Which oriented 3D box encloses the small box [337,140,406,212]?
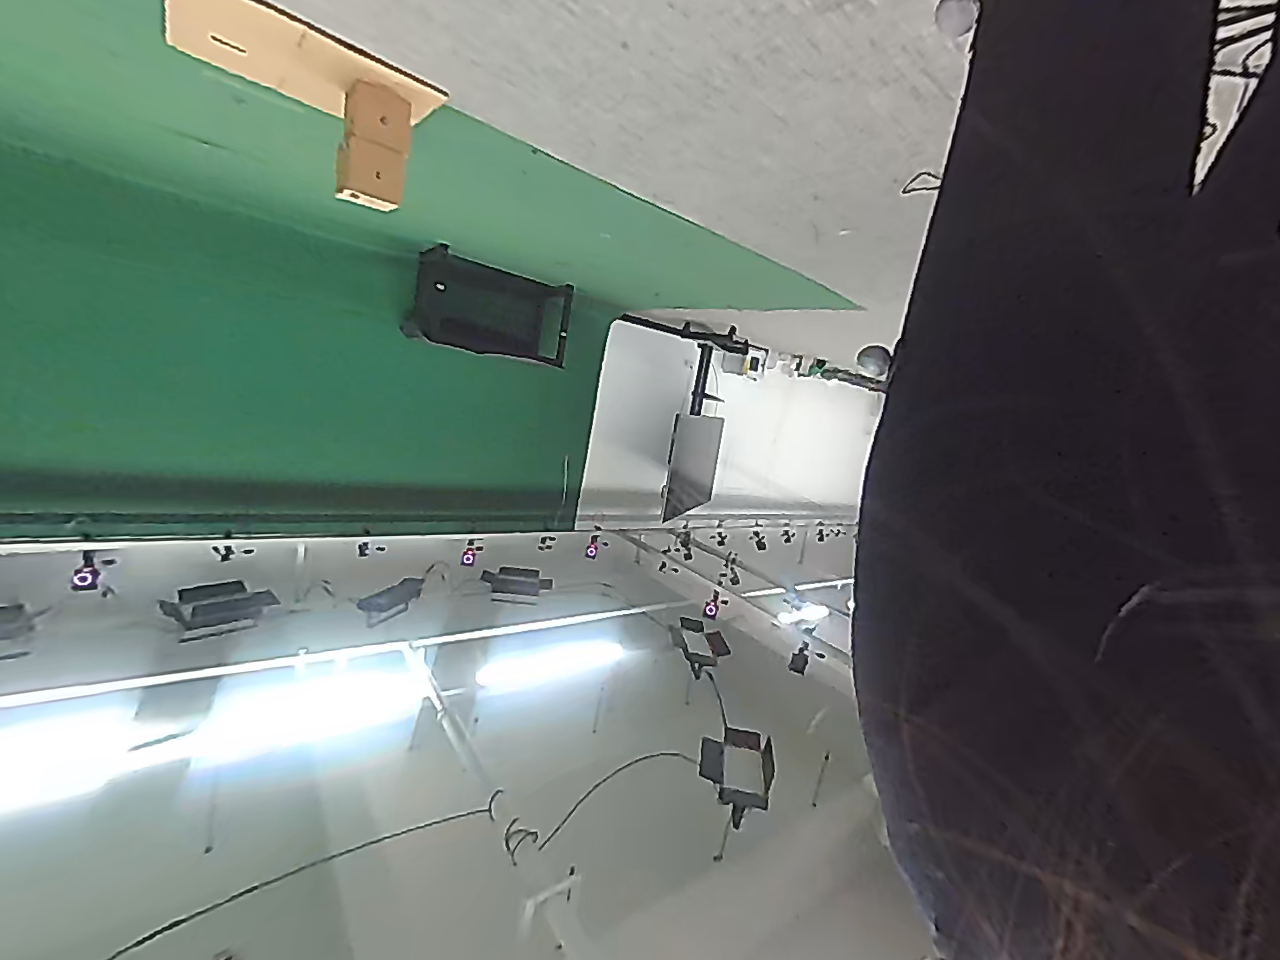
[{"bbox_3d":[-0.936,-1.060,1.882,0.179,0.176,0.168,-1,-165,-43],"label":"small box"}]
